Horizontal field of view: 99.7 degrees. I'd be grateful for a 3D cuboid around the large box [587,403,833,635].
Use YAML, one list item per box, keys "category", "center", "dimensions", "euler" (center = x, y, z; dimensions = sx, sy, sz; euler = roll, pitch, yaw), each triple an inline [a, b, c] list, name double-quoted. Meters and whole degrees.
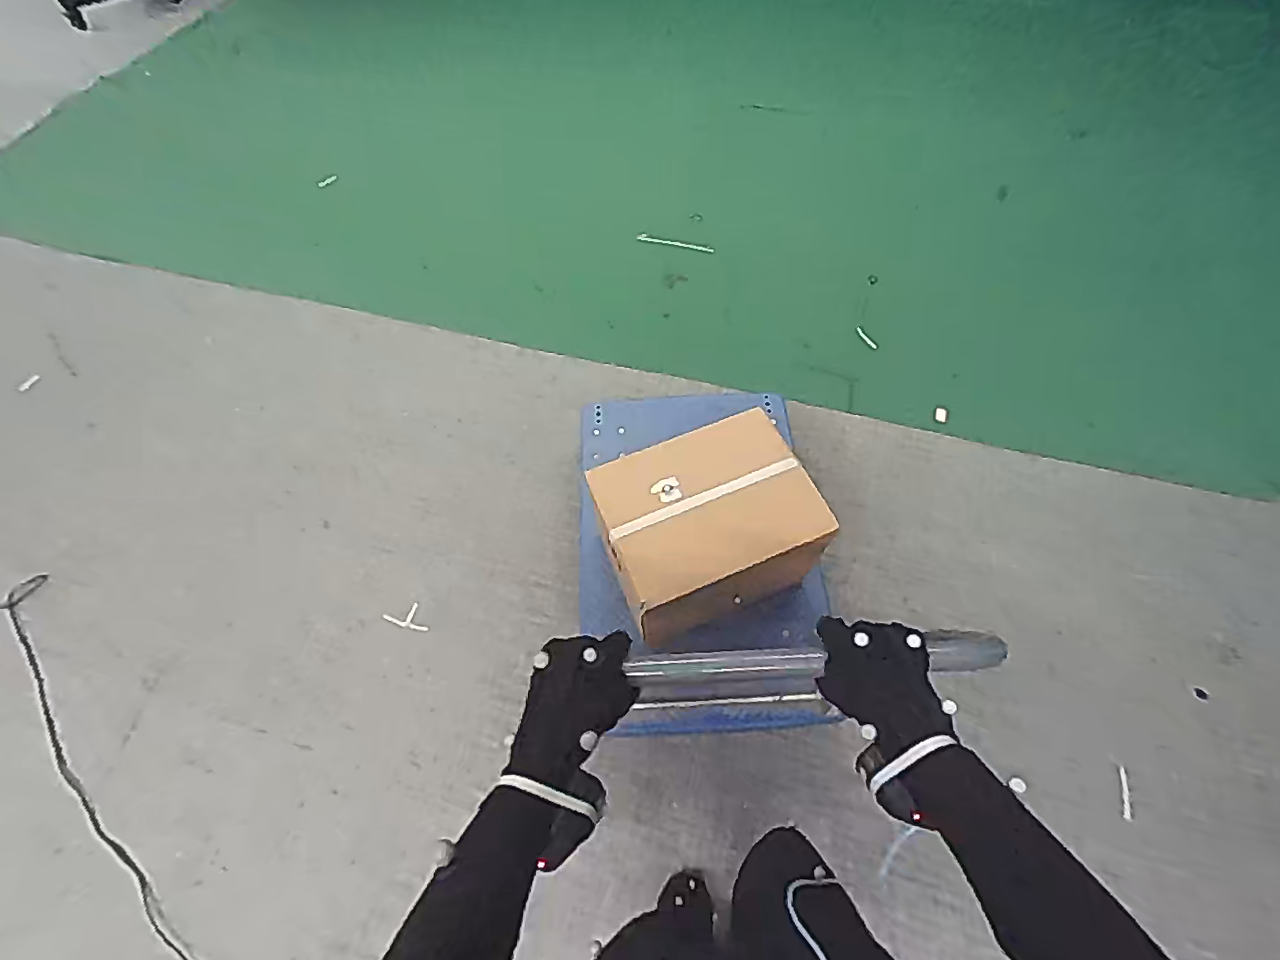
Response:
- category: "large box"
  center: [0.138, 0.096, 1.193]
  dimensions: [0.408, 0.320, 0.320]
  euler: [-22, 62, -8]
